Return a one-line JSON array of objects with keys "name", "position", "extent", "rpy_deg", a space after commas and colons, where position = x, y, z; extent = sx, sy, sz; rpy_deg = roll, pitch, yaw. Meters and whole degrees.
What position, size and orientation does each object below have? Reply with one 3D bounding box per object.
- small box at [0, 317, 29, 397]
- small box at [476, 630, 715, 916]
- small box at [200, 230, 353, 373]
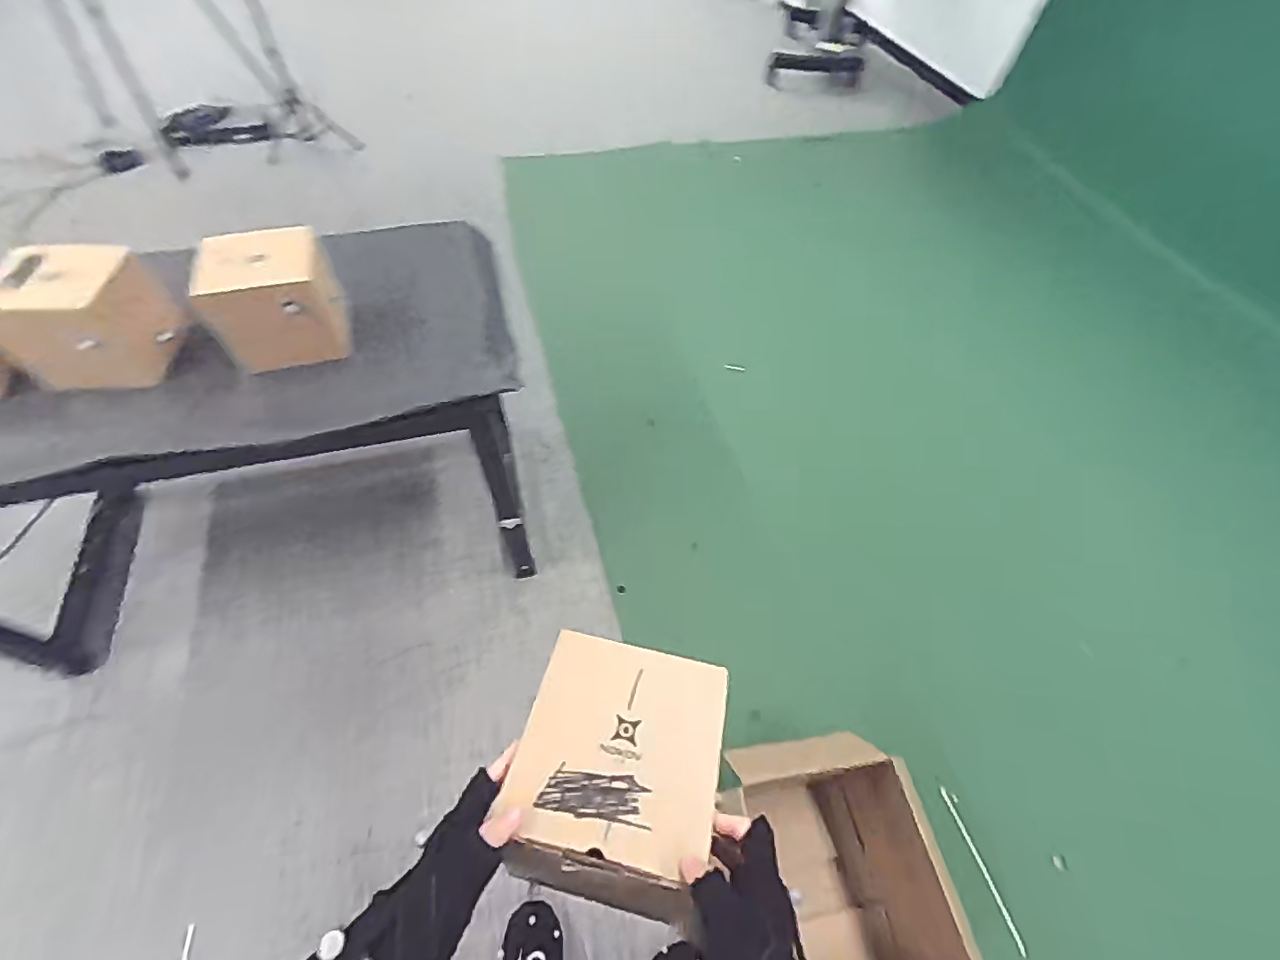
[{"name": "small box", "position": [-1.167, -0.217, 0.870], "extent": [0.179, 0.176, 0.168], "rpy_deg": [-16, 58, -14]}, {"name": "small box", "position": [-0.031, 0.273, 0.505], "extent": [0.168, 0.176, 0.179], "rpy_deg": [11, 43, 5]}, {"name": "small box", "position": [-0.632, -0.315, 0.967], "extent": [0.179, 0.176, 0.168], "rpy_deg": [-13, 56, -12]}]
